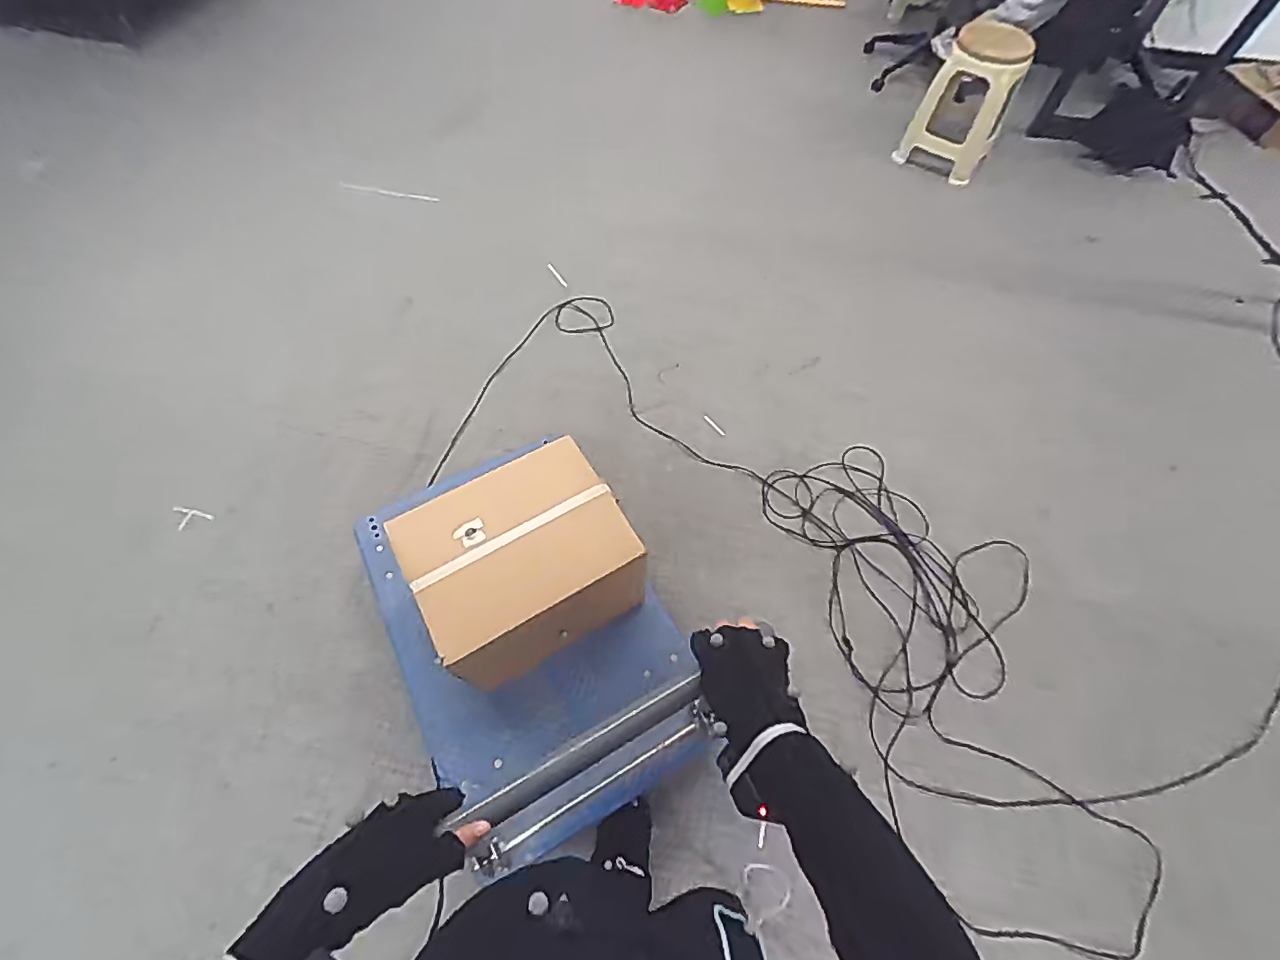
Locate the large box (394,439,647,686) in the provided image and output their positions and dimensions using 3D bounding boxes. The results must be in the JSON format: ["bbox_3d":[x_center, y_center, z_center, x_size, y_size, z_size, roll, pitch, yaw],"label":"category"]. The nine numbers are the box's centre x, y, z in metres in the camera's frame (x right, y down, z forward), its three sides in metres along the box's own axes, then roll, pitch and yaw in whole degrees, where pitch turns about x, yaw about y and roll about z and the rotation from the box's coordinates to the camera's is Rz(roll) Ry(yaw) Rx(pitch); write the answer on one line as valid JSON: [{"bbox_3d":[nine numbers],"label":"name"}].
[{"bbox_3d":[-0.232,0.185,1.169,0.408,0.320,0.320,-28,64,-14],"label":"large box"}]
